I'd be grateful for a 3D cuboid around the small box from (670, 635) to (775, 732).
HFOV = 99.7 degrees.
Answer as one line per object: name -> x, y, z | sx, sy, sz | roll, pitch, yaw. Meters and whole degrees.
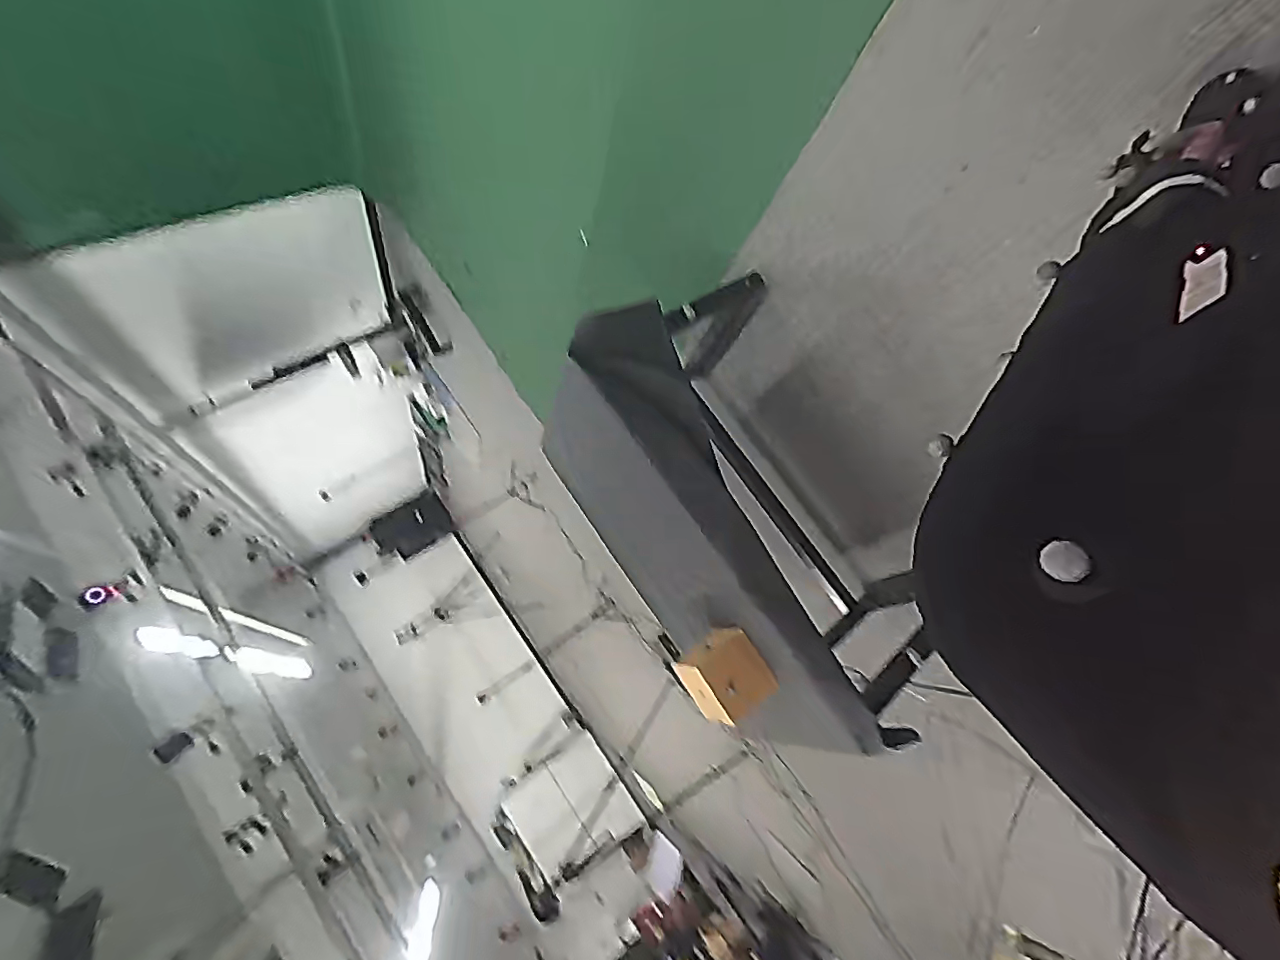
small box -> 0.216, 0.523, 1.421 | 0.179, 0.176, 0.168 | 56, 154, 3
